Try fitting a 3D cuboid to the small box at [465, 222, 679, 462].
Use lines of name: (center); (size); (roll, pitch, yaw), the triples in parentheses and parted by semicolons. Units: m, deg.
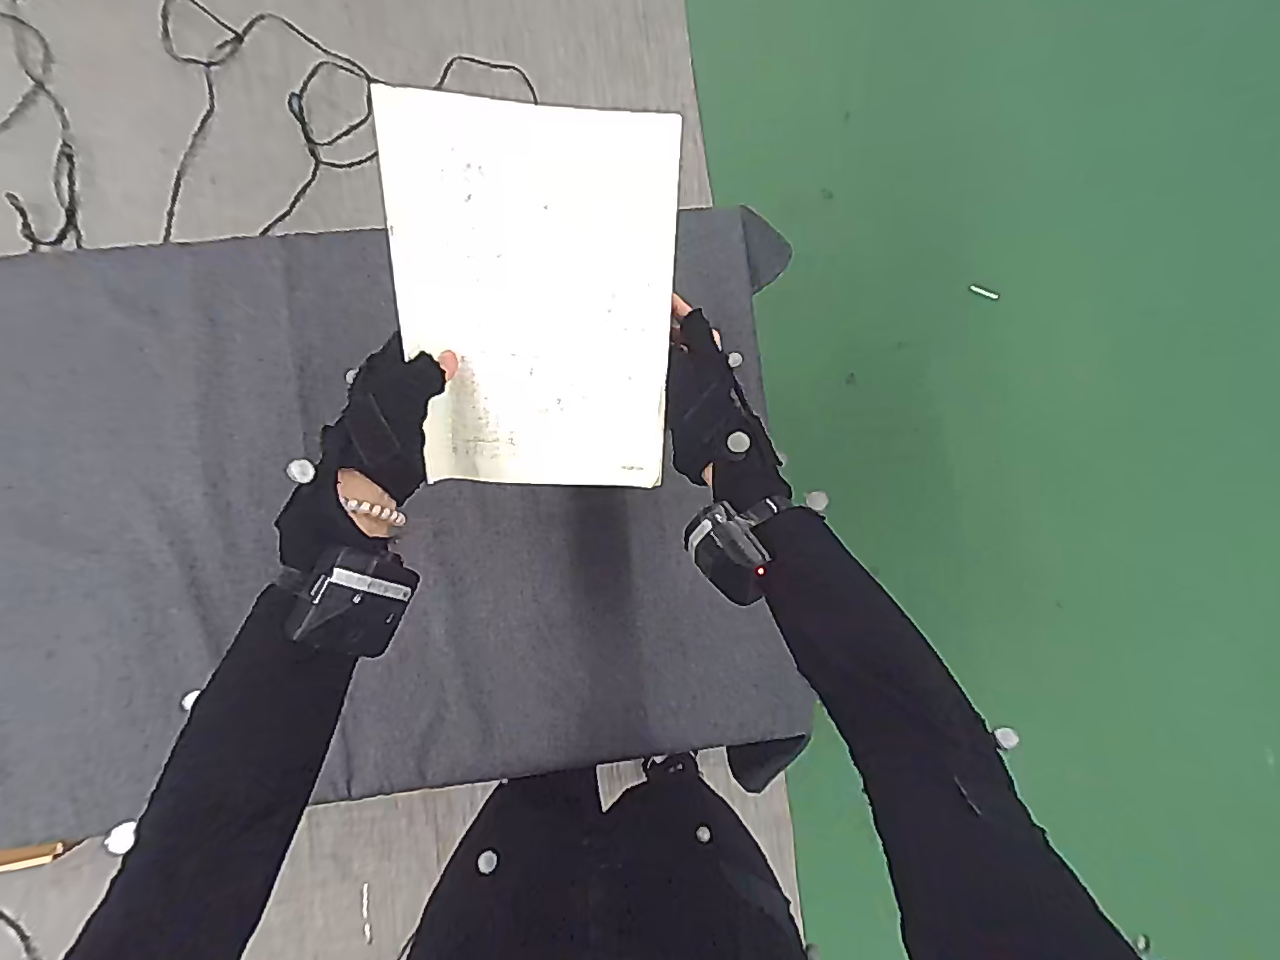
small box: (-0.062, -0.120, 0.526); (0.168, 0.176, 0.179); (-7, 86, -3)
